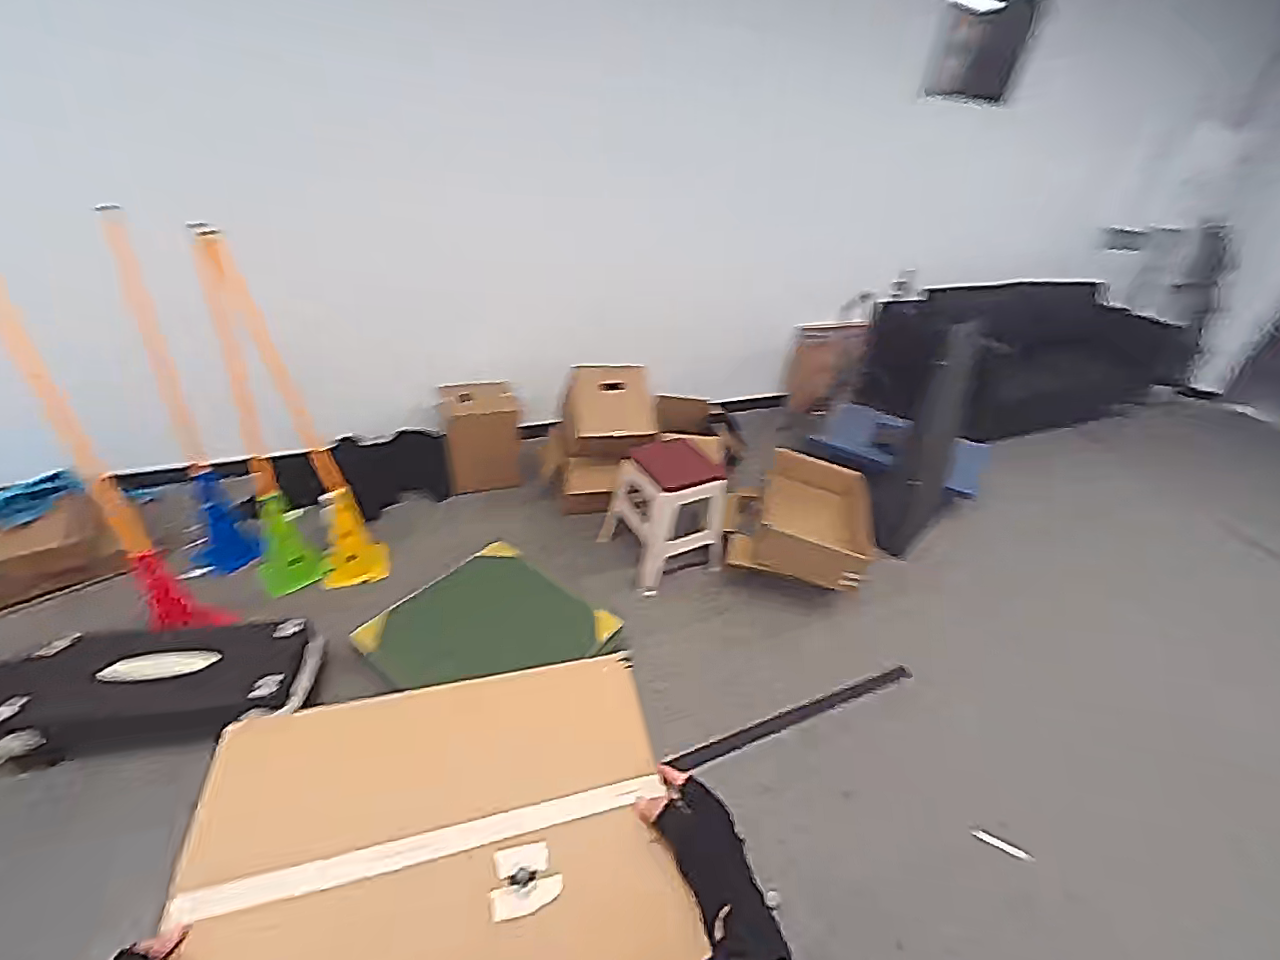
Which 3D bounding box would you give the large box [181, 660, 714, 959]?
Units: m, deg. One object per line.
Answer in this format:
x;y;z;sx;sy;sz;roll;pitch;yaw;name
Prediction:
-0.182;0.445;0.575;0.408;0.320;0.320;-5;39;-15;large box
